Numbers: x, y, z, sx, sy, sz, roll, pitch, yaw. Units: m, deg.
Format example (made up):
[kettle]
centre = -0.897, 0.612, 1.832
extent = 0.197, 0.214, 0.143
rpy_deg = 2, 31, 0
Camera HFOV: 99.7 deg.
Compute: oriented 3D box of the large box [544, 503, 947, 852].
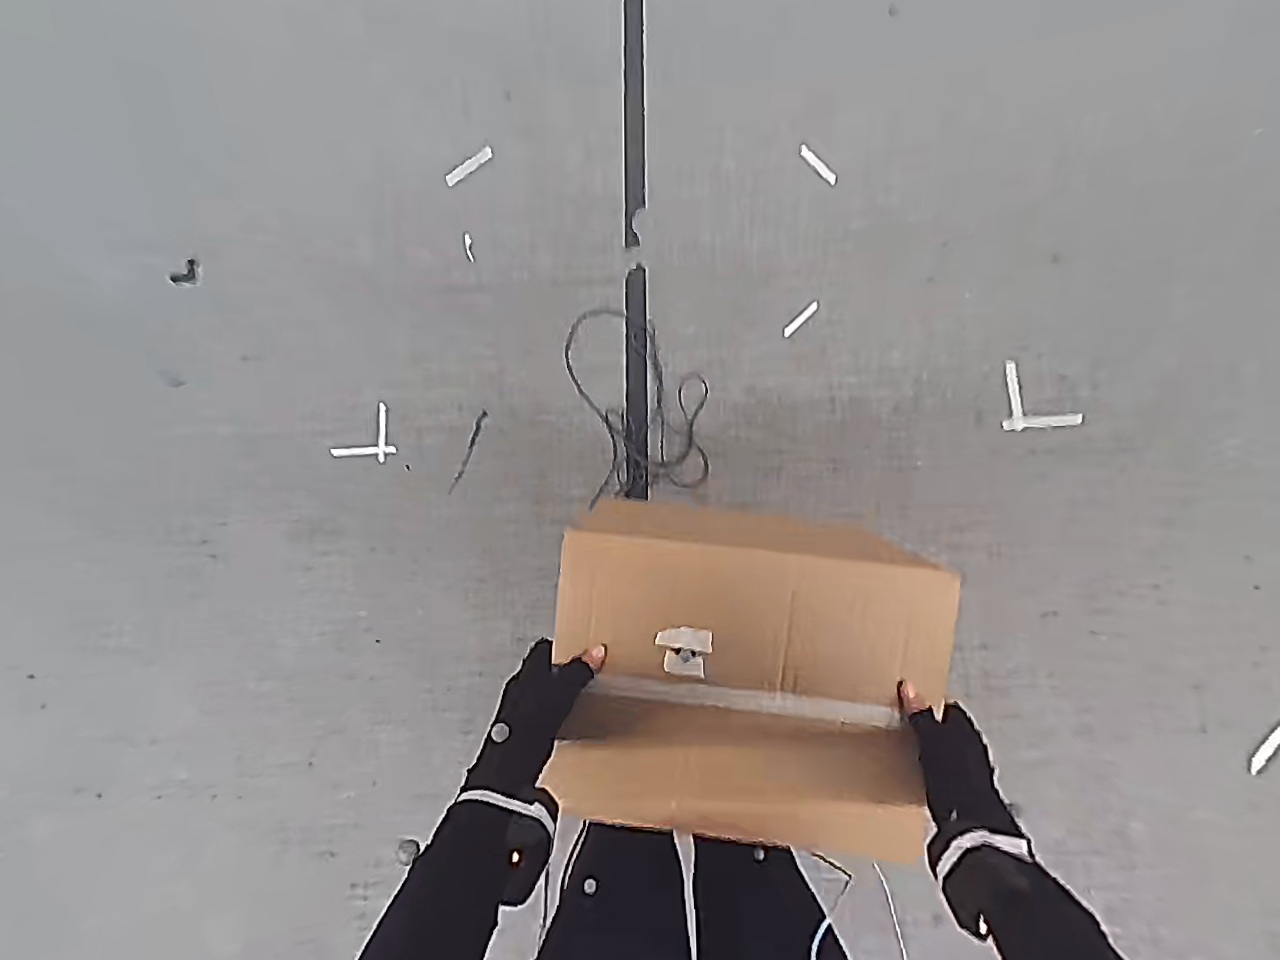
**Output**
[large box]
centre = 0.117, 0.214, 0.720
extent = 0.408, 0.320, 0.320
rpy_deg = 6, 93, 5
